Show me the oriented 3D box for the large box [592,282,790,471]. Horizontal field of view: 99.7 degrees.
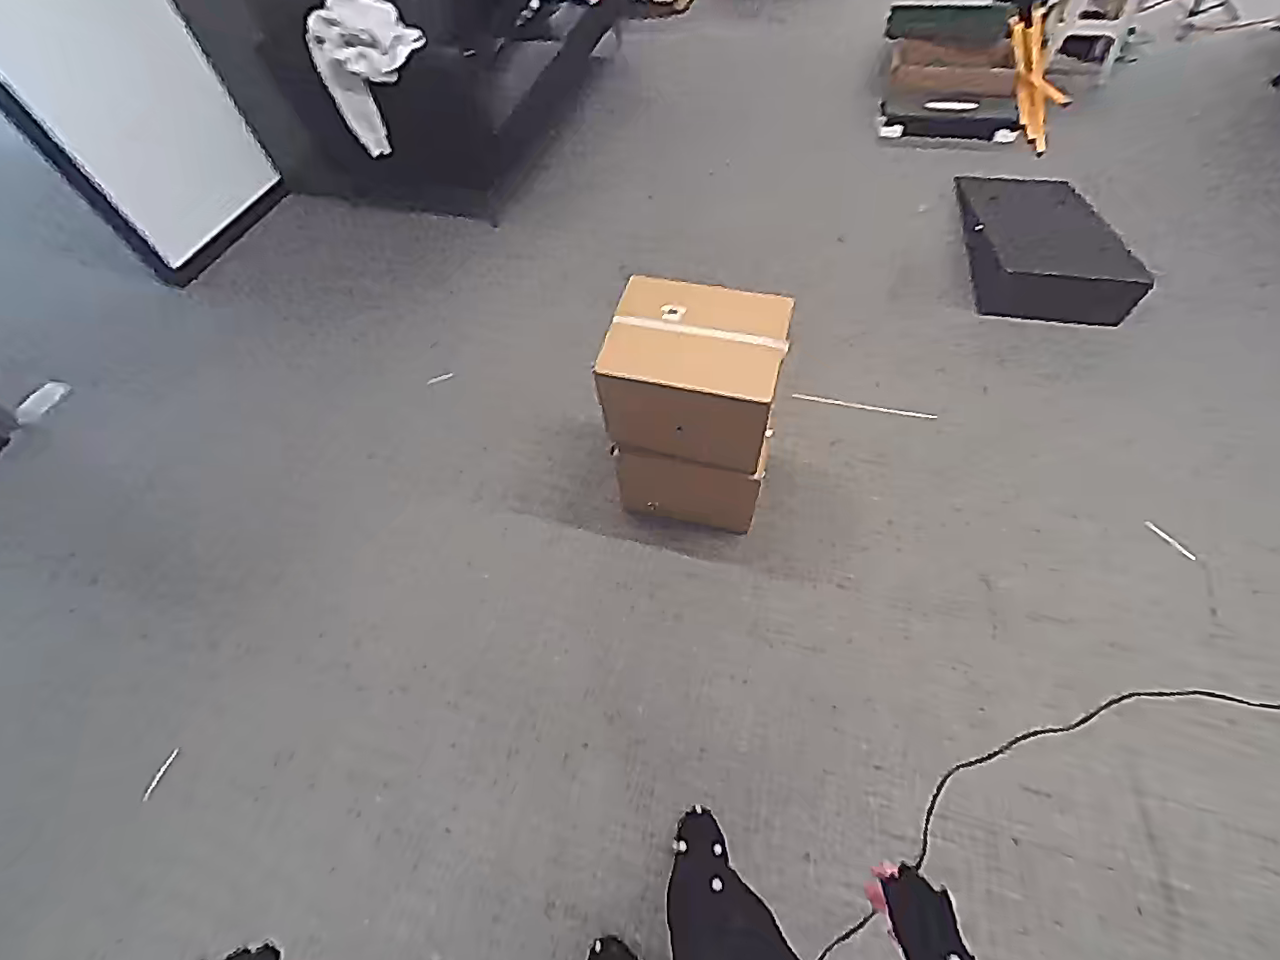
[{"bbox_3d":[0.139,-0.253,1.360,0.408,0.320,0.320,12,63,13],"label":"large box"}]
